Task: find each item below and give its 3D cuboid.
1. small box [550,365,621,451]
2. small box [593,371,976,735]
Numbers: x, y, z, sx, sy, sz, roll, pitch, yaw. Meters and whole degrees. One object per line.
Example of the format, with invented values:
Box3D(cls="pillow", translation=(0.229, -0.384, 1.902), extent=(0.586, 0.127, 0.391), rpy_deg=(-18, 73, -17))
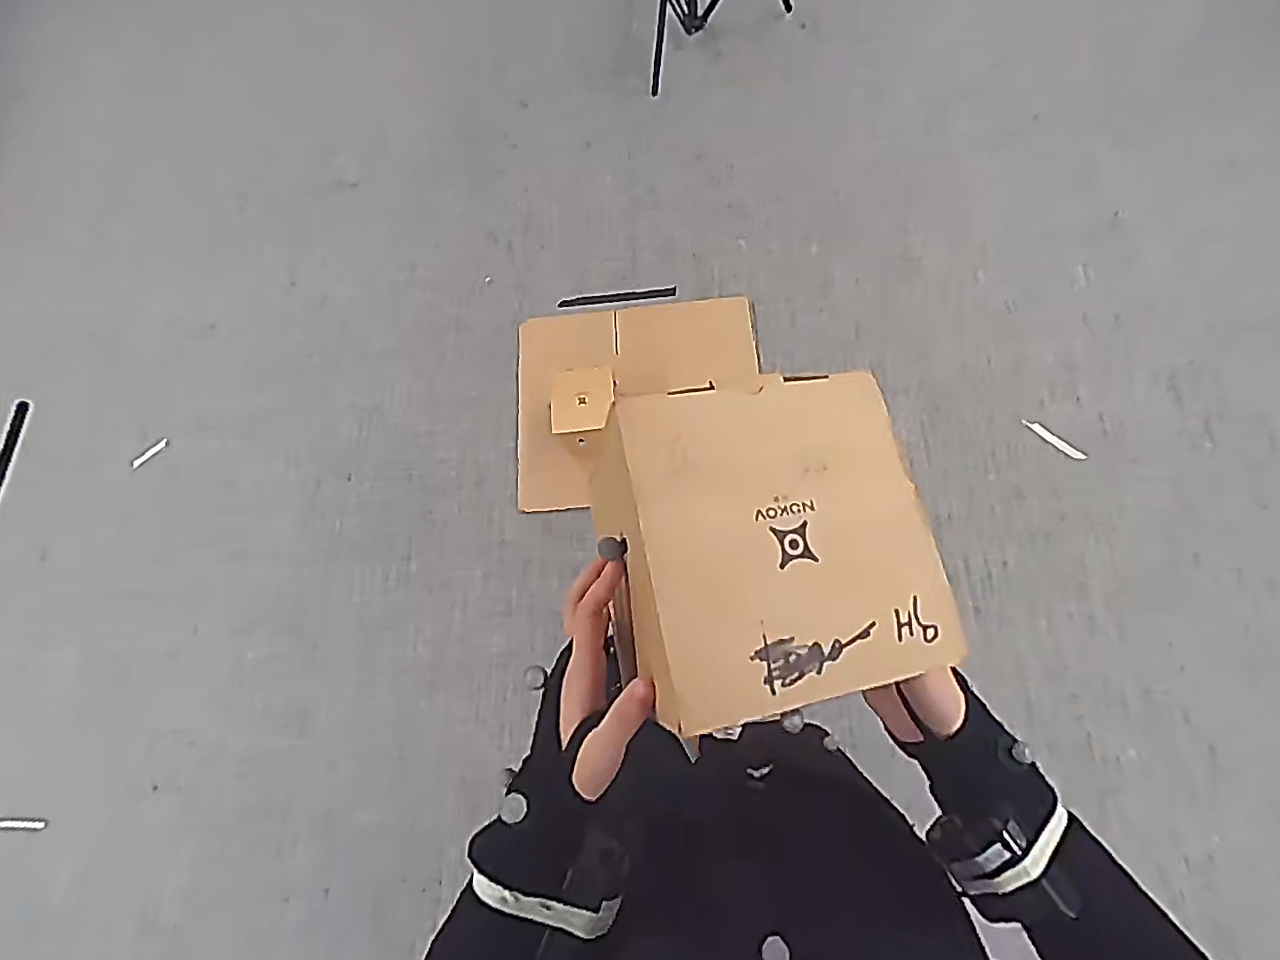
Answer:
Box3D(cls="small box", translation=(-0.137, -0.184, 1.452), extent=(0.168, 0.176, 0.179), rpy_deg=(-7, 73, 4))
Box3D(cls="small box", translation=(0.067, 0.050, 0.361), extent=(0.168, 0.176, 0.179), rpy_deg=(-9, 75, -12))
